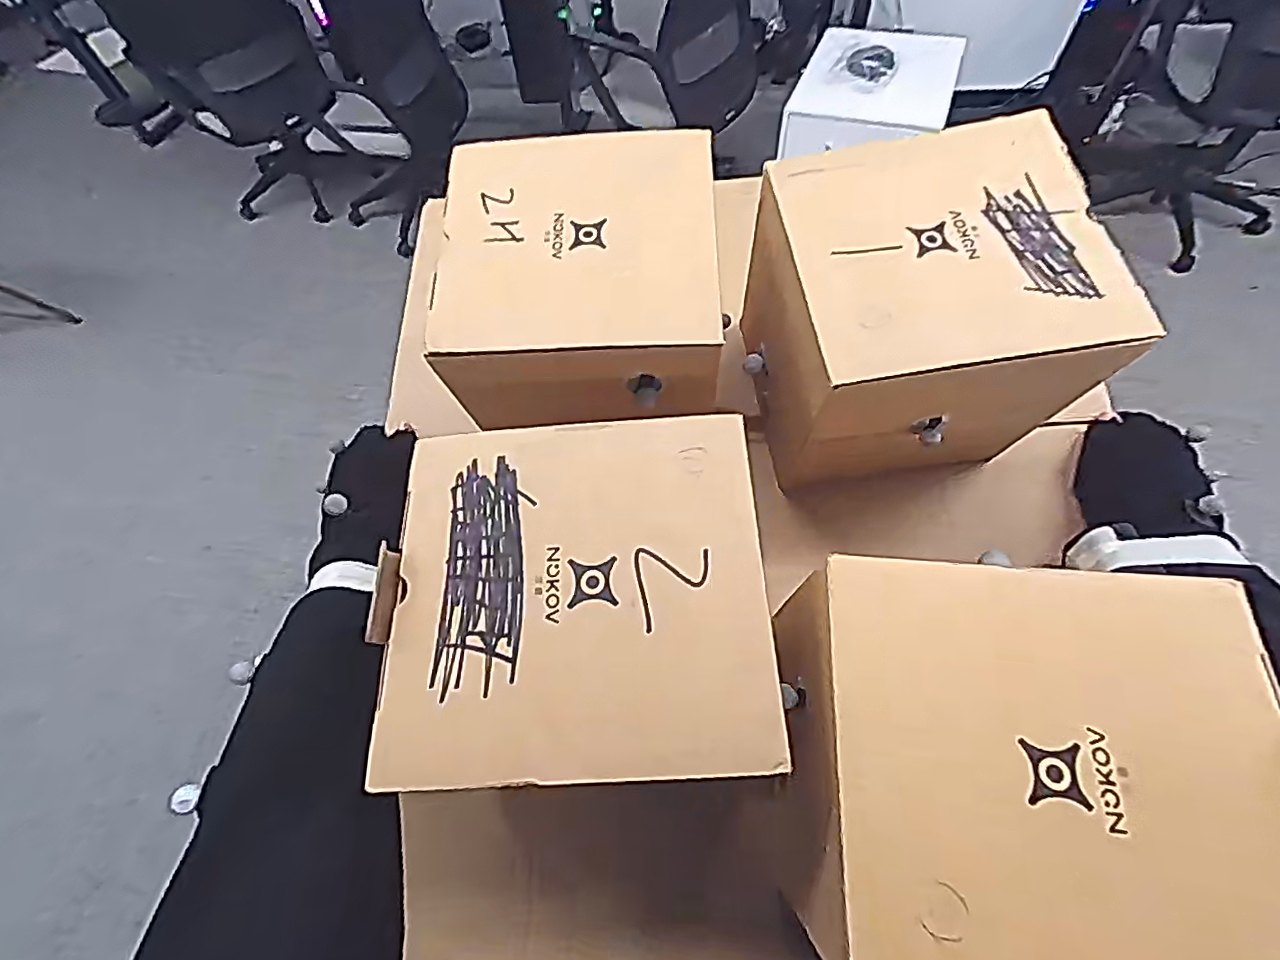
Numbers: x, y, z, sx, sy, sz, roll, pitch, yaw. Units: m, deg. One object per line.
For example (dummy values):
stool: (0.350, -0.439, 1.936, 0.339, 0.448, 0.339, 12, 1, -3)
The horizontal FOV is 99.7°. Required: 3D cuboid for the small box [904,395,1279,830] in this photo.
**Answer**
small box: (0.273, 0.076, 0.290, 0.179, 0.176, 0.168, 15, 75, 10)
